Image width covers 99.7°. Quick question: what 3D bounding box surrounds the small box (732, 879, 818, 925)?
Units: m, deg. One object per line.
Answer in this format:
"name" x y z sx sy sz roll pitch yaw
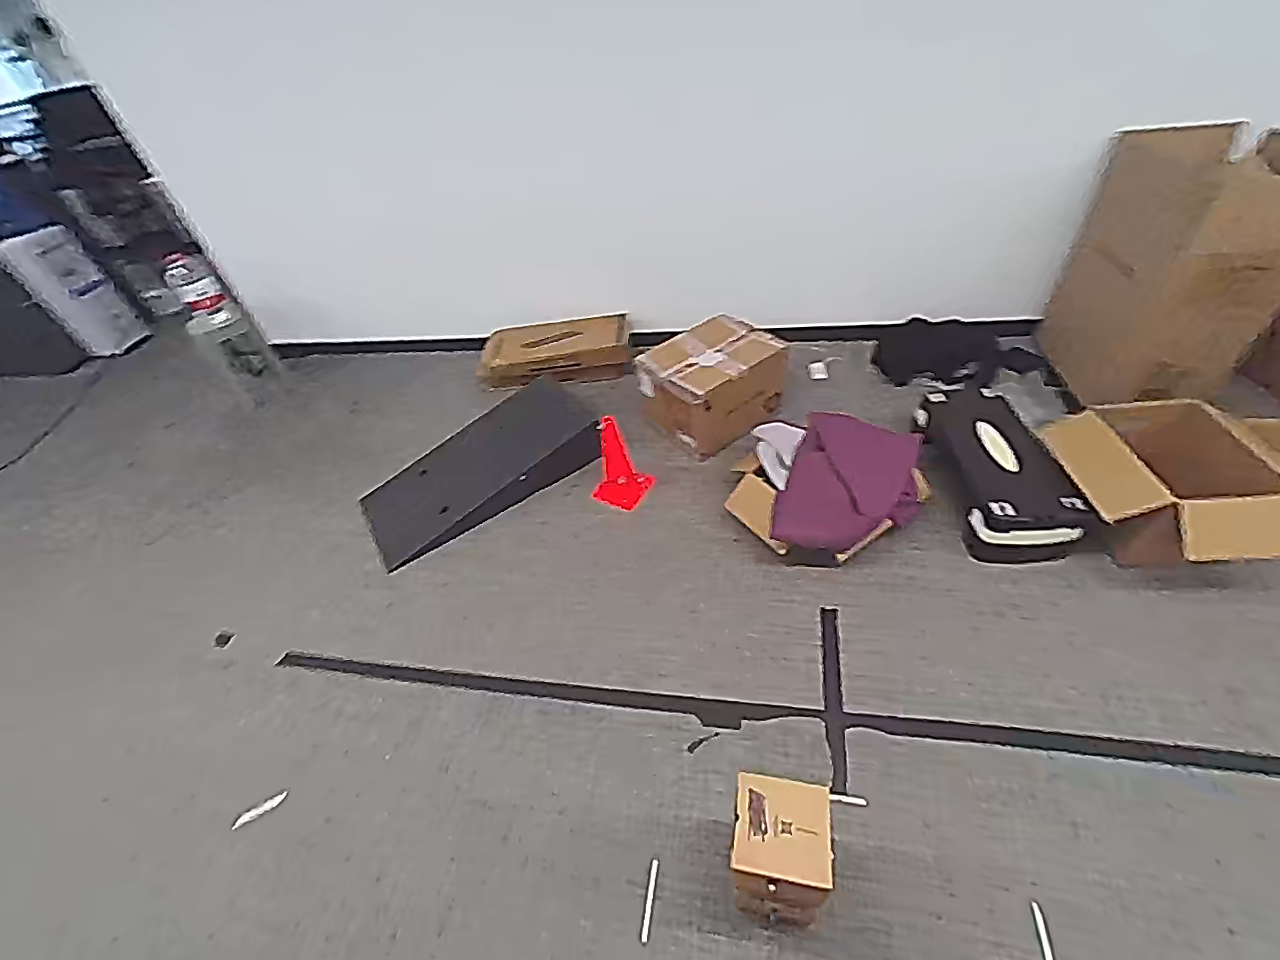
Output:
"small box" 0.293 0.825 1.162 0.168 0.176 0.179 3 46 15

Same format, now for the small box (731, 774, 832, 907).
"small box" 0.274 0.702 1.052 0.179 0.176 0.168 4 45 14
